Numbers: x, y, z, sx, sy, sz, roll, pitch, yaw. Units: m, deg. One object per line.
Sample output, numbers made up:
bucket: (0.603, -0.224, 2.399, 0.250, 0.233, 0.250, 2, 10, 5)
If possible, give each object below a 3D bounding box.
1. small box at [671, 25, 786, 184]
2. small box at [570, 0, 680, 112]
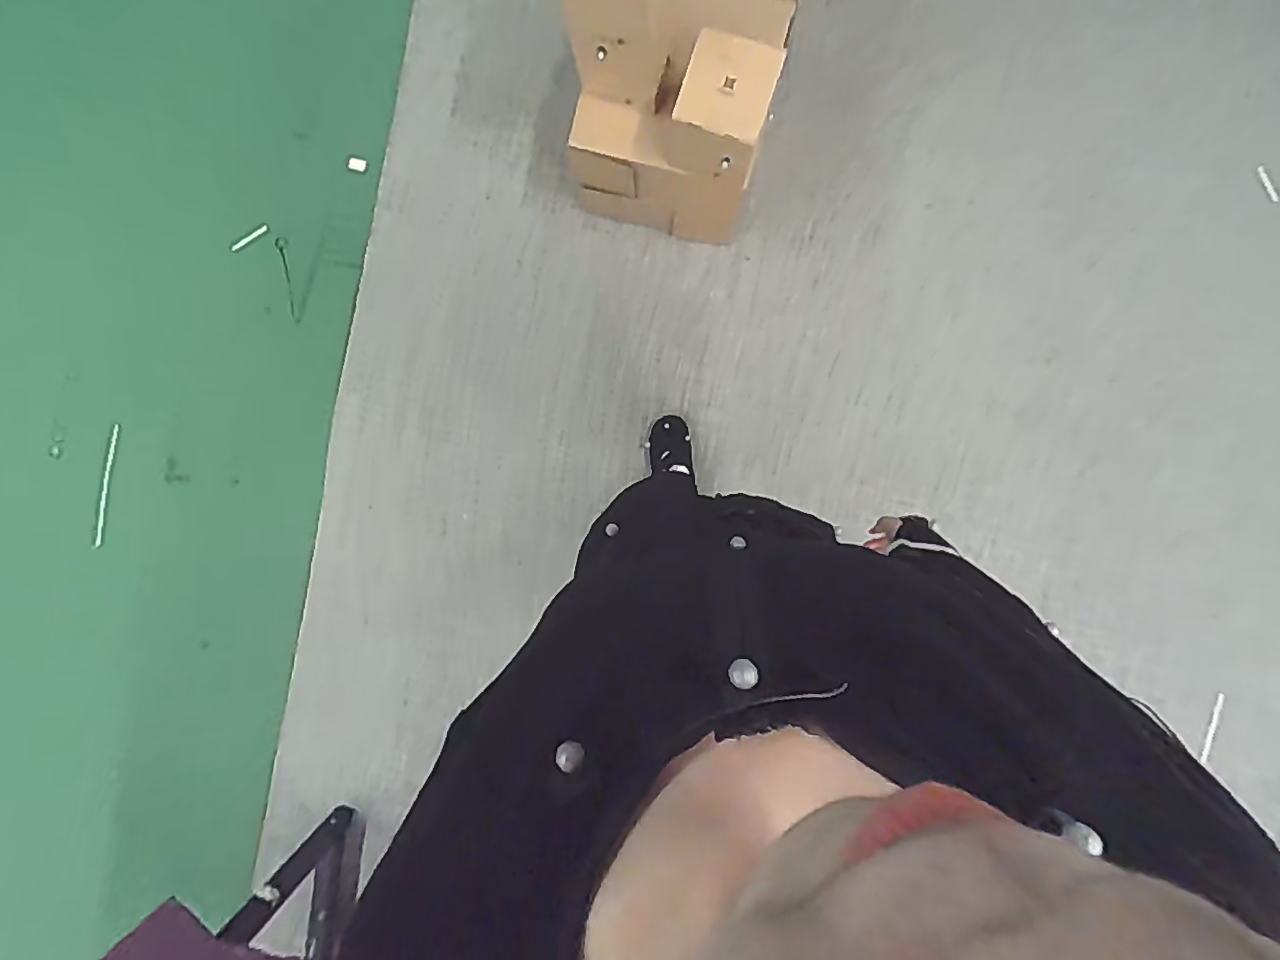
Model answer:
small box: (0.165, -0.723, 1.063, 0.168, 0.176, 0.179, 19, 91, 1)
small box: (-0.022, -0.885, 1.070, 0.168, 0.176, 0.179, 18, 91, 4)
